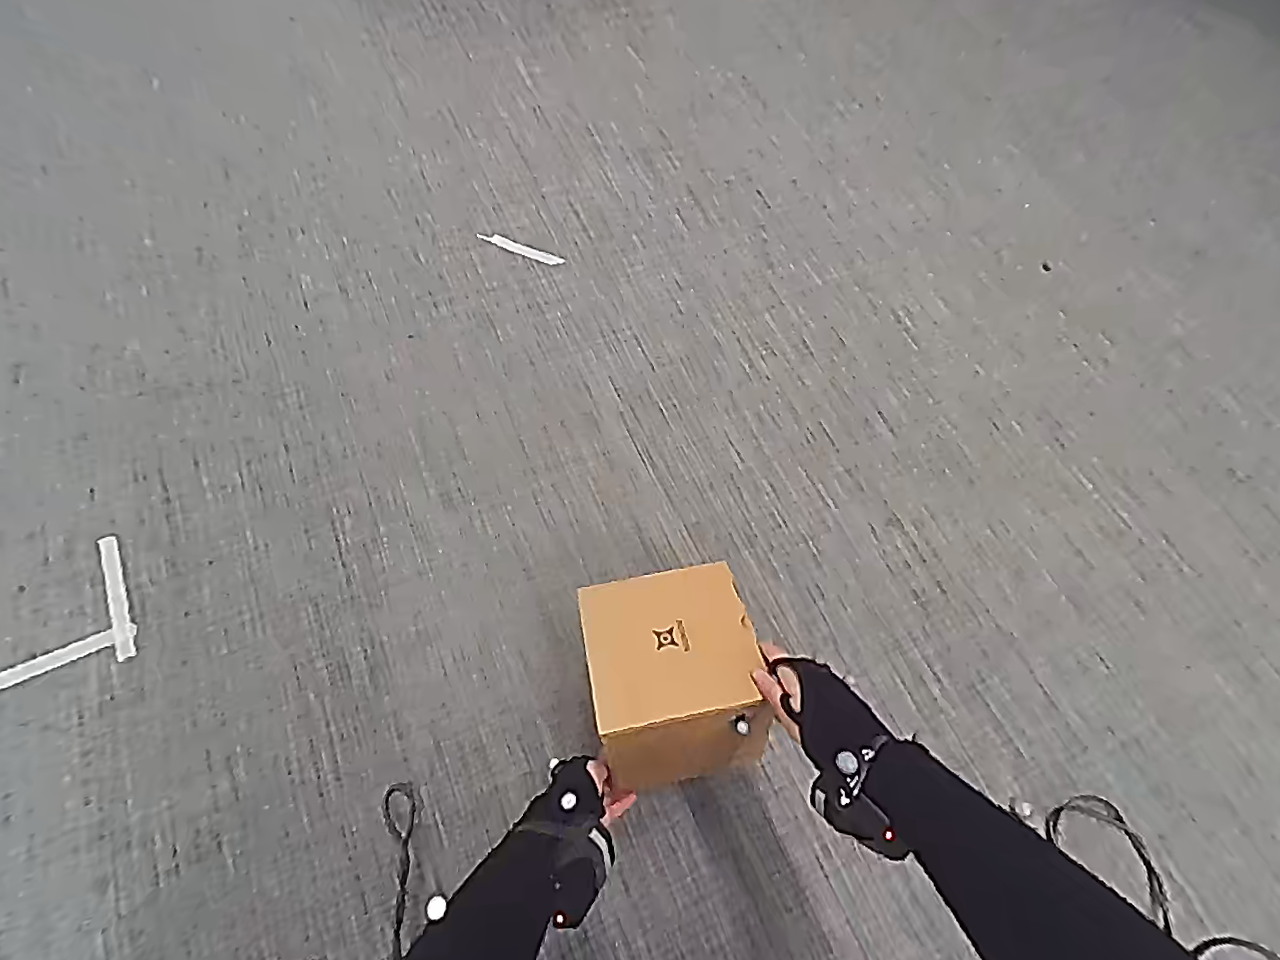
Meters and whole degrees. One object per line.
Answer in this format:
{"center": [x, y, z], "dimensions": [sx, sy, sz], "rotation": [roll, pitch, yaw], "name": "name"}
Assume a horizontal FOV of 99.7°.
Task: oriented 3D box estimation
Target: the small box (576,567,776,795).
{"center": [0.032, 0.227, 0.608], "dimensions": [0.179, 0.176, 0.168], "rotation": [-10, 44, -8], "name": "small box"}
